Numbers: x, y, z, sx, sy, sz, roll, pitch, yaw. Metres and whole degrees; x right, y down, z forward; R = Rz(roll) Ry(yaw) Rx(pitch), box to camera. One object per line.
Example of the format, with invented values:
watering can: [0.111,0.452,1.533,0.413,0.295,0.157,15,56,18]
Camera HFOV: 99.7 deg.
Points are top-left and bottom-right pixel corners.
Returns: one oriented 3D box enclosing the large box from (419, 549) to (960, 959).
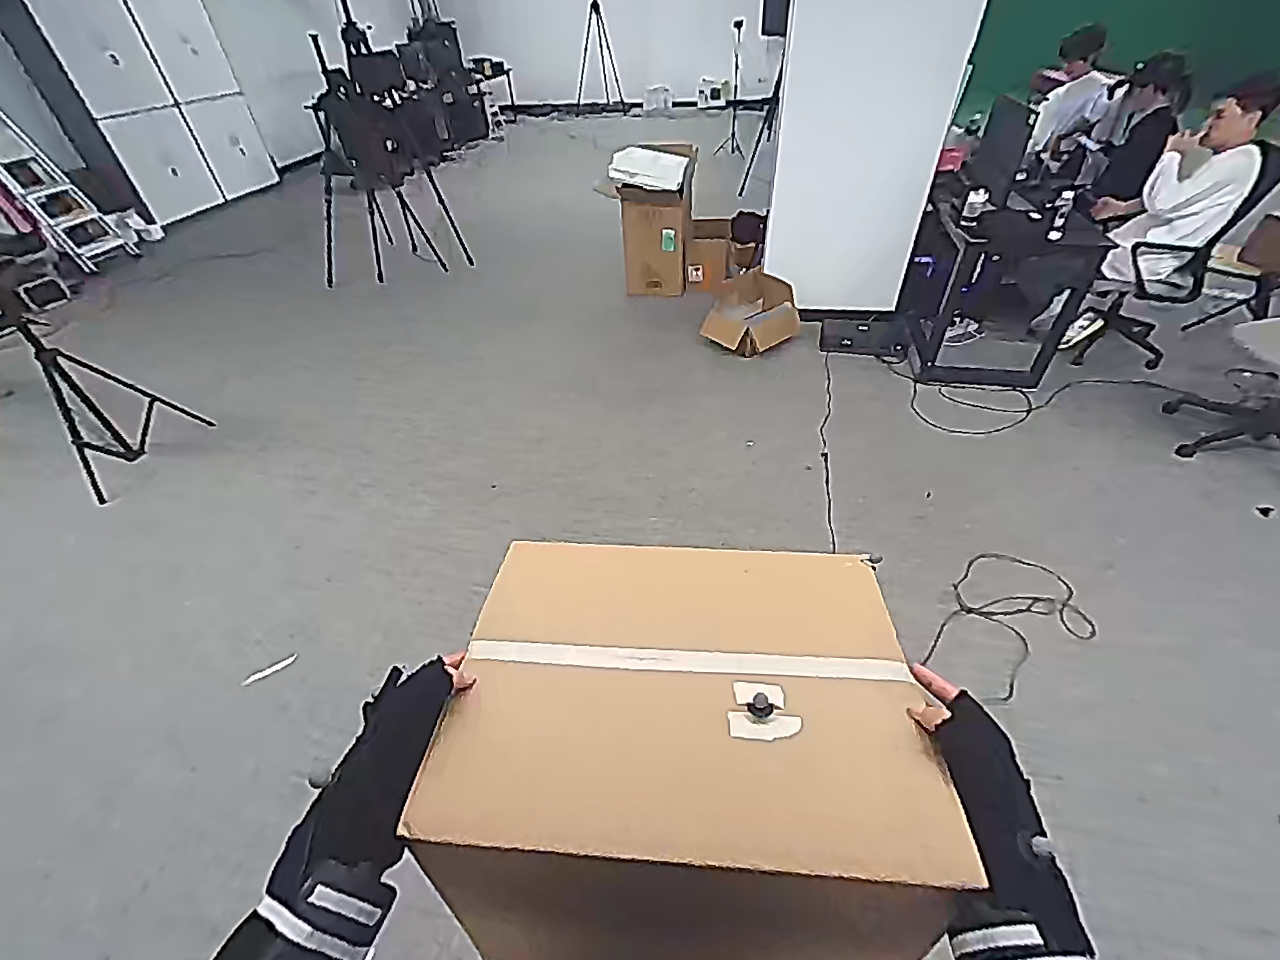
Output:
large box: [0.042,0.297,0.596,0.408,0.320,0.320,2,36,5]
